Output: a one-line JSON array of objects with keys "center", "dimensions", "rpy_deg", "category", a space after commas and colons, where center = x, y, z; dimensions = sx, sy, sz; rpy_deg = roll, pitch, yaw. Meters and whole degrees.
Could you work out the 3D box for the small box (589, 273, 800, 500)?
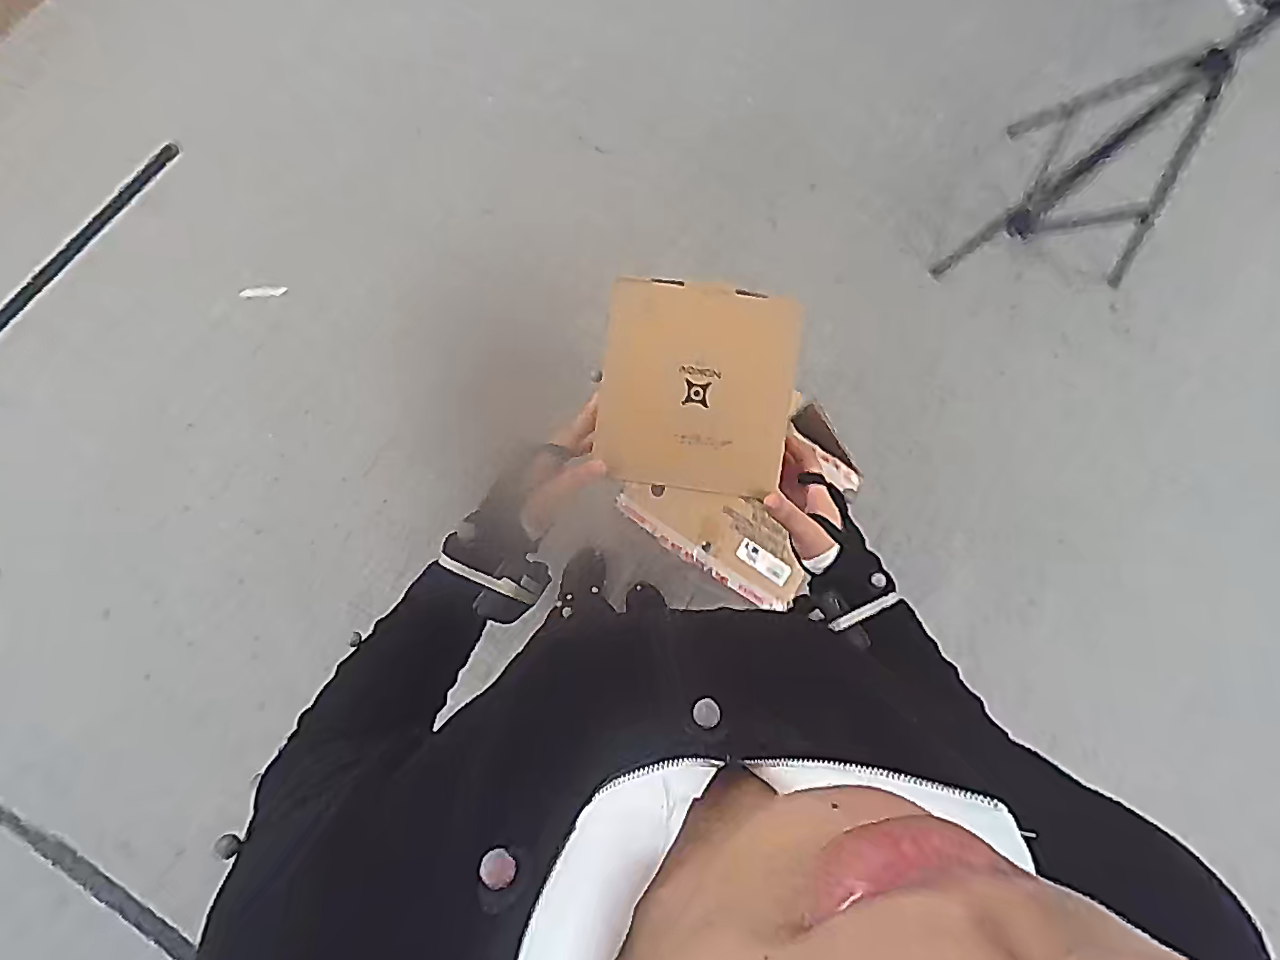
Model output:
[{"center": [0.043, -0.082, 0.542], "dimensions": [0.168, 0.176, 0.179], "rpy_deg": [7, 93, -2], "category": "small box"}]
